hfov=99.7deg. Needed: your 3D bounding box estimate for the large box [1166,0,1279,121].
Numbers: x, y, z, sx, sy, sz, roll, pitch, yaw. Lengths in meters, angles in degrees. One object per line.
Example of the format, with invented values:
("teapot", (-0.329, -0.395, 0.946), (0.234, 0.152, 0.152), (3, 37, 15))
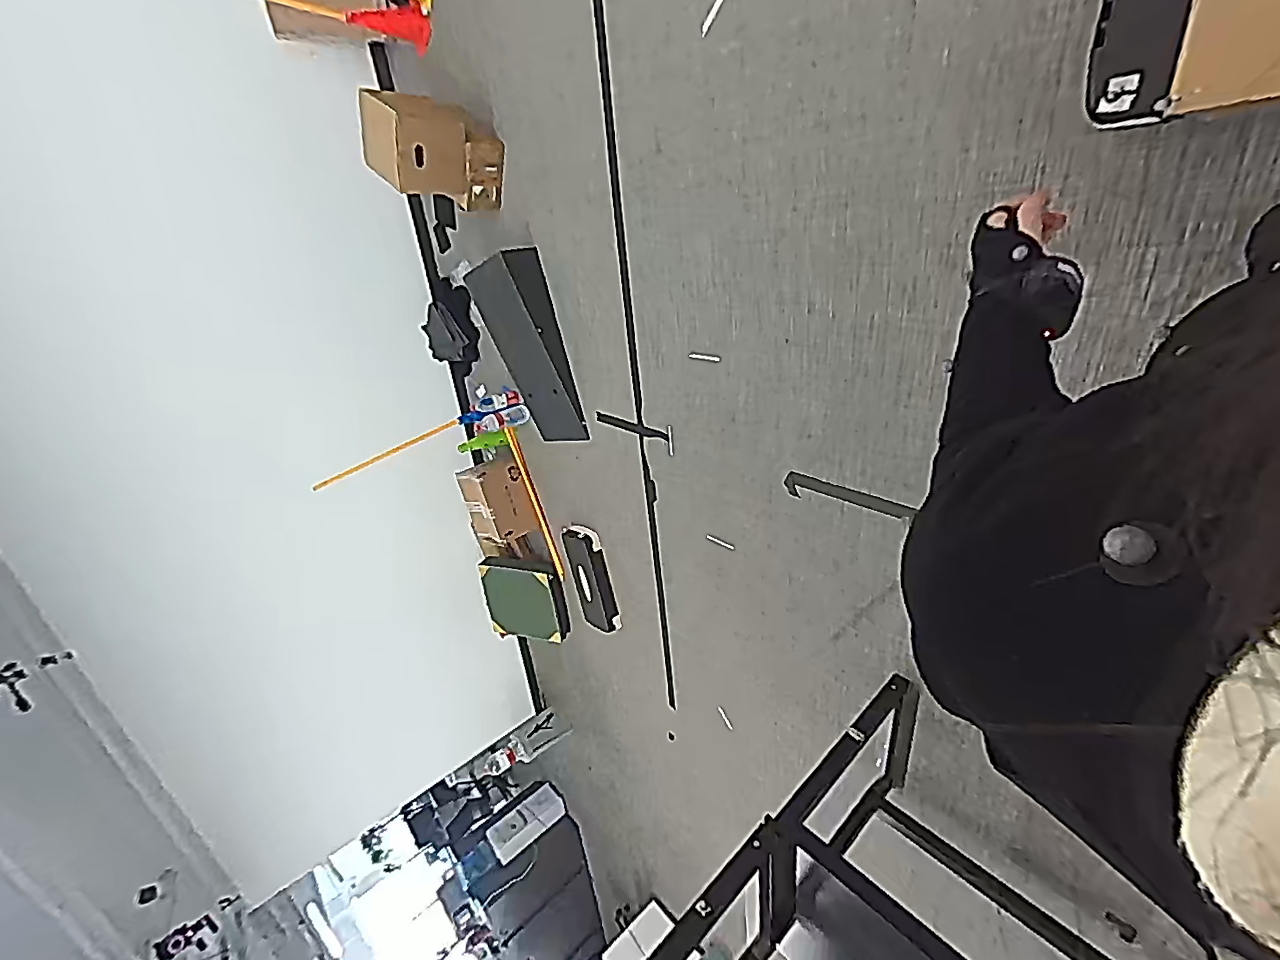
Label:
("large box", (0.872, -0.586, 0.543), (0.408, 0.320, 0.320), (22, 126, 46))
